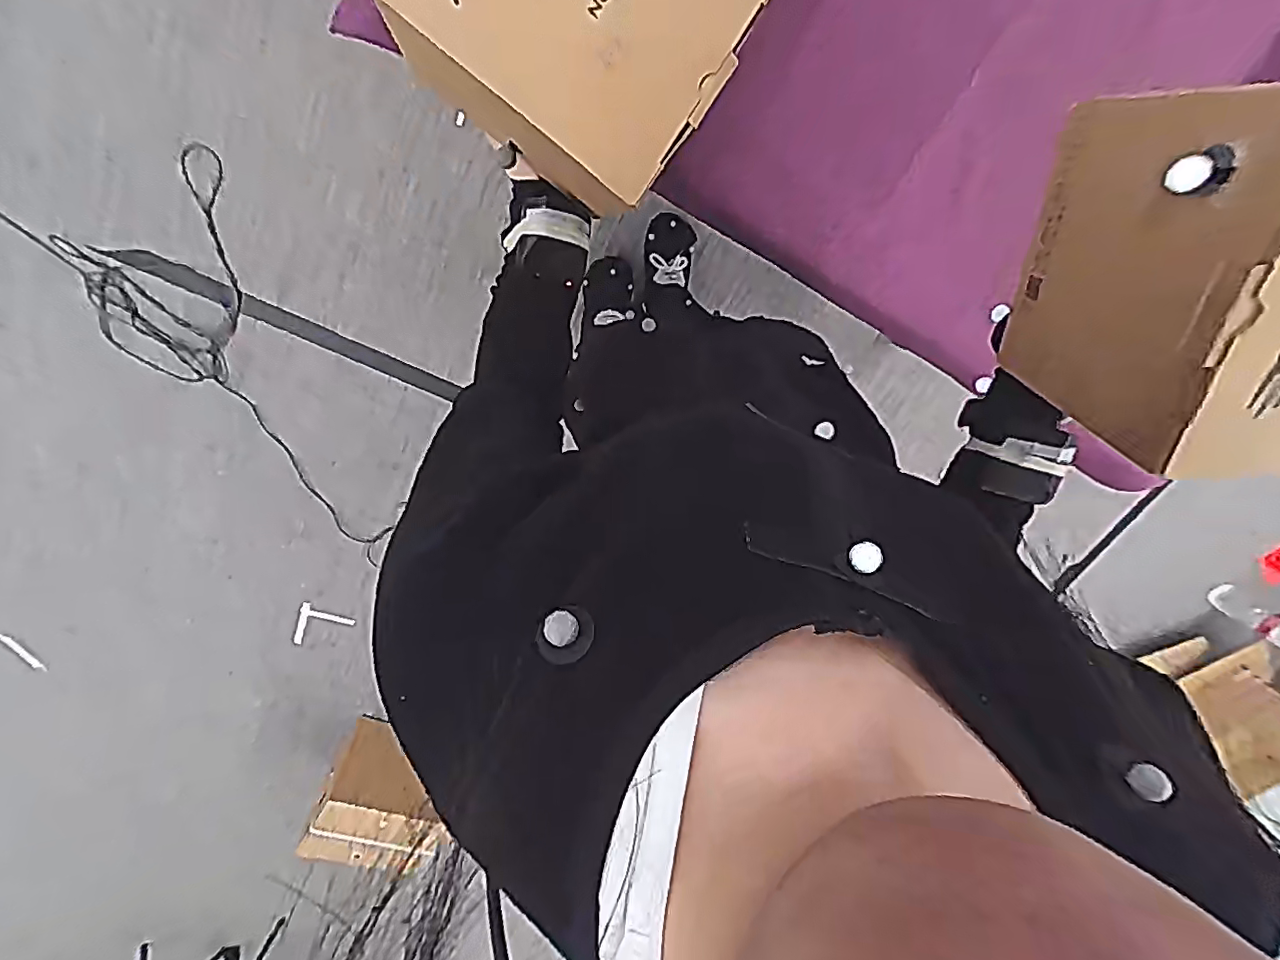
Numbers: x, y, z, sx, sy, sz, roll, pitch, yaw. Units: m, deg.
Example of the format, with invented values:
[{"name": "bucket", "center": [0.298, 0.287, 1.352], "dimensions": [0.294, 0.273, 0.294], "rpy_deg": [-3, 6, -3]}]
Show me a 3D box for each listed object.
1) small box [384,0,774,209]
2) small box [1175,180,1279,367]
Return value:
[{"name": "small box", "center": [-0.041, -0.311, 0.365], "dimensions": [0.179, 0.176, 0.168], "rpy_deg": [30, 103, -24]}, {"name": "small box", "center": [0.831, -0.247, 0.668], "dimensions": [0.168, 0.176, 0.179], "rpy_deg": [27, 110, -20]}]
